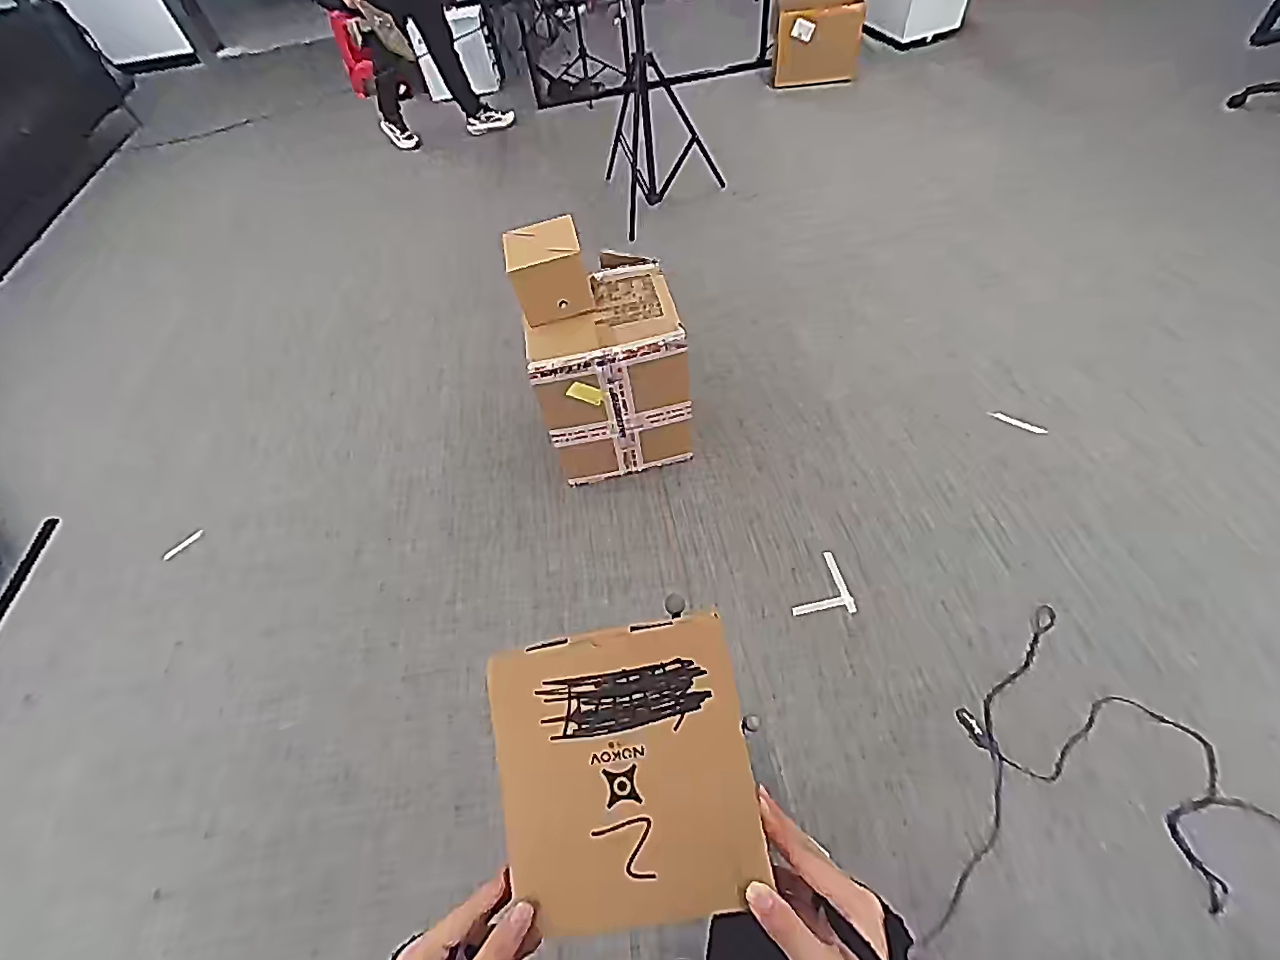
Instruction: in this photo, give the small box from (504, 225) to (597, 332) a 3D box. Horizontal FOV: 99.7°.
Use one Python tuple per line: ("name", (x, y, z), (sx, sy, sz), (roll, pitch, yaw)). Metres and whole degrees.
("small box", (-0.221, -0.506, 1.349), (0.179, 0.176, 0.168), (-15, 55, 0))
